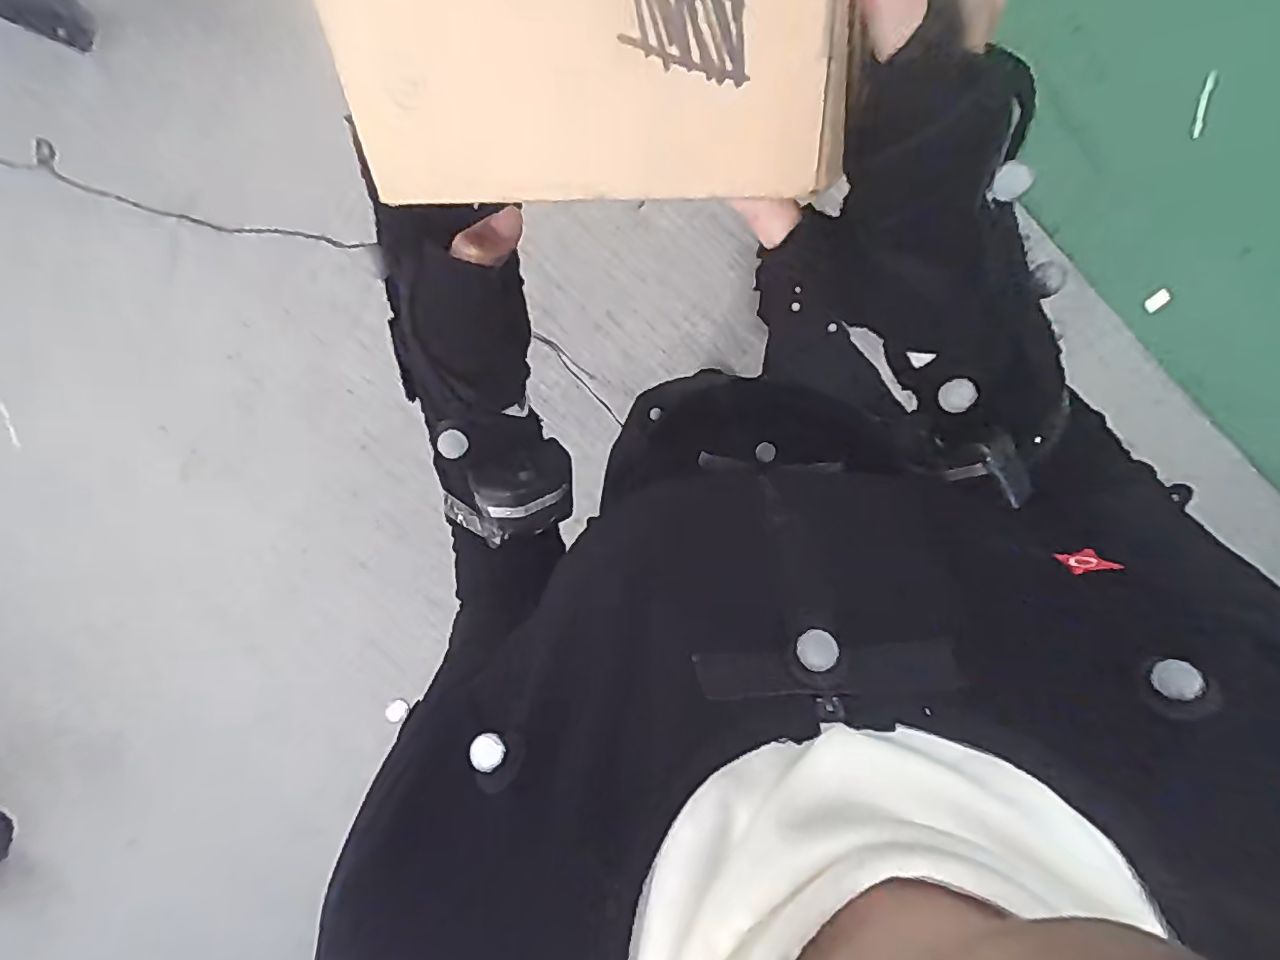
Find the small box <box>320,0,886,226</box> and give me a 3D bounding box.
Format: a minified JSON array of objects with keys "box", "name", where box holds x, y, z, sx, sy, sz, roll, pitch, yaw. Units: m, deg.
[{"box":[0.000,-0.208,0.204,0.179,0.176,0.168,8,128,24],"name":"small box"}]
